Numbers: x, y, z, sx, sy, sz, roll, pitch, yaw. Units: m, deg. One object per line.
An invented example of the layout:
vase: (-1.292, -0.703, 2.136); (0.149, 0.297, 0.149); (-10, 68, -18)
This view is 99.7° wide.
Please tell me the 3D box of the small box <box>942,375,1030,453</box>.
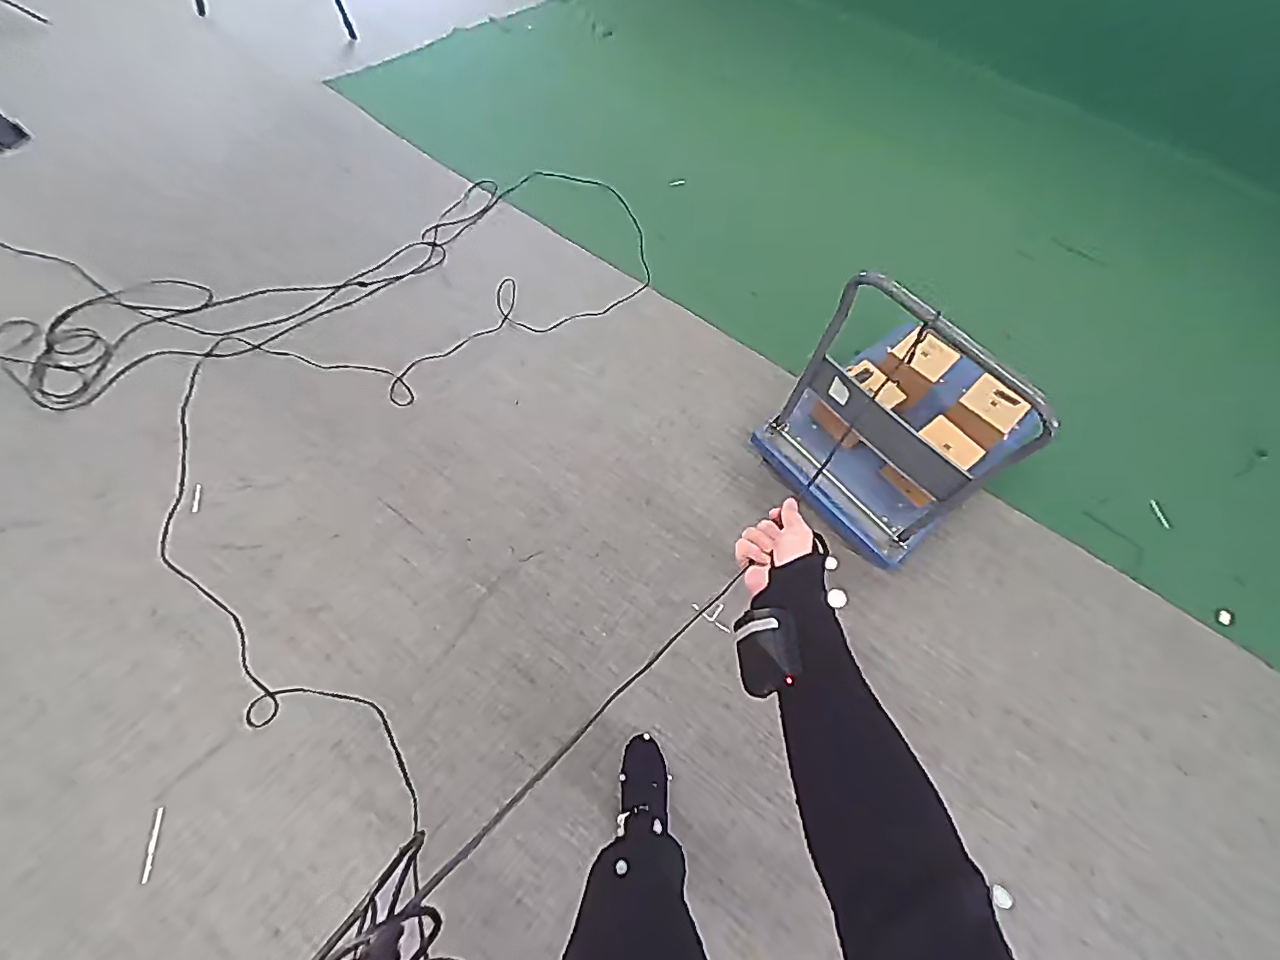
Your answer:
small box: (1.073, -0.193, 1.713); (0.179, 0.176, 0.168); (-38, 70, -23)

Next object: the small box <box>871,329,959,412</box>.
small box: (0.899, -0.358, 1.790); (0.179, 0.176, 0.168); (-38, 71, -23)

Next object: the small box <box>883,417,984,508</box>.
small box: (0.866, -0.050, 1.613); (0.179, 0.176, 0.168); (-34, 69, -21)
